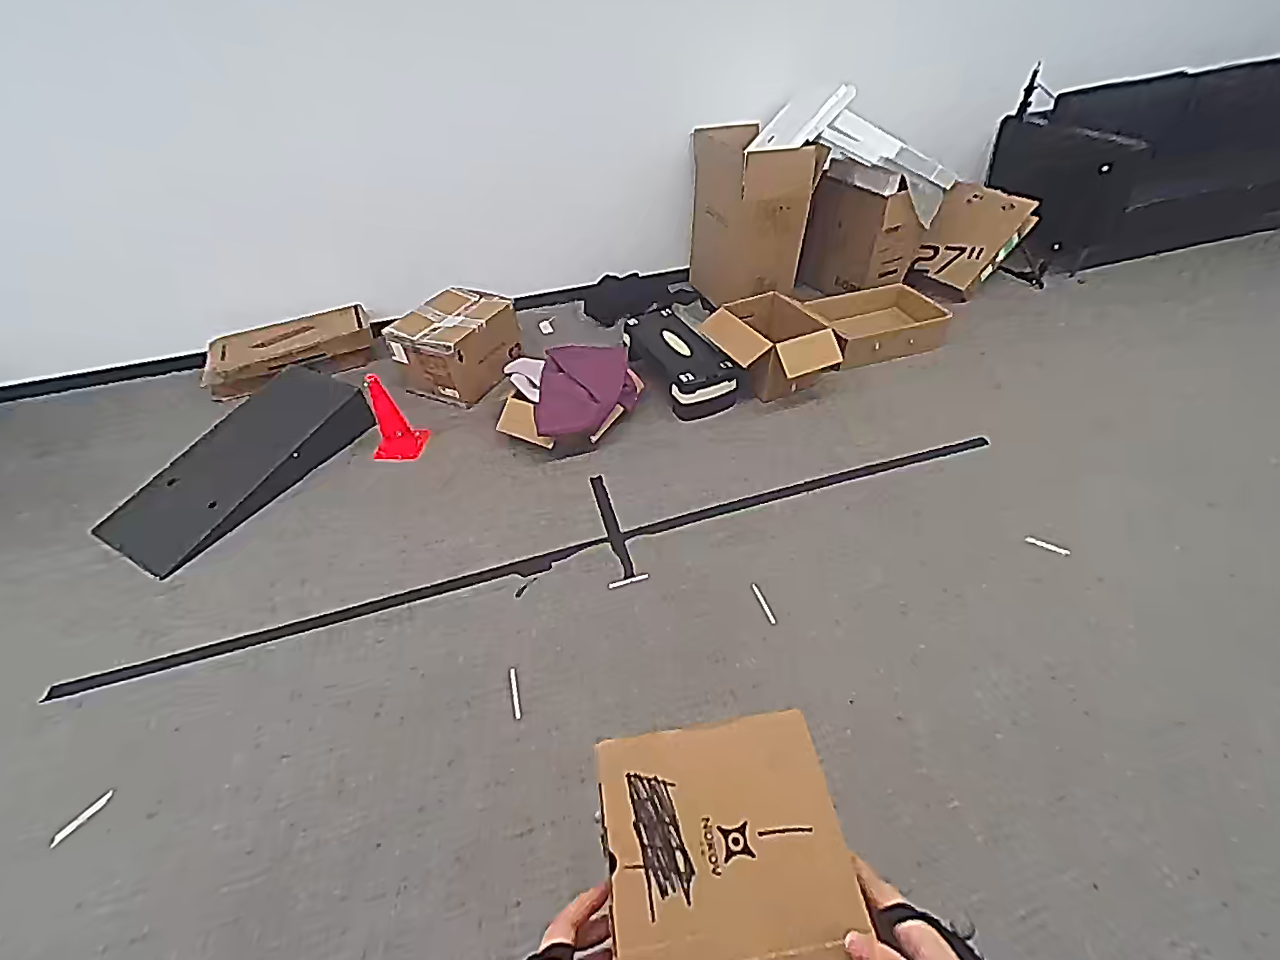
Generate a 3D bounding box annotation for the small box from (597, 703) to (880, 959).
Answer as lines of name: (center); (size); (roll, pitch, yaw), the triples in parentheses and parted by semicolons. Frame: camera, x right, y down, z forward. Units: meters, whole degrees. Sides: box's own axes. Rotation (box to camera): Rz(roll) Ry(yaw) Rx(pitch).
small box: (0.063, 0.309, 0.456); (0.179, 0.176, 0.168); (-7, 51, -5)
